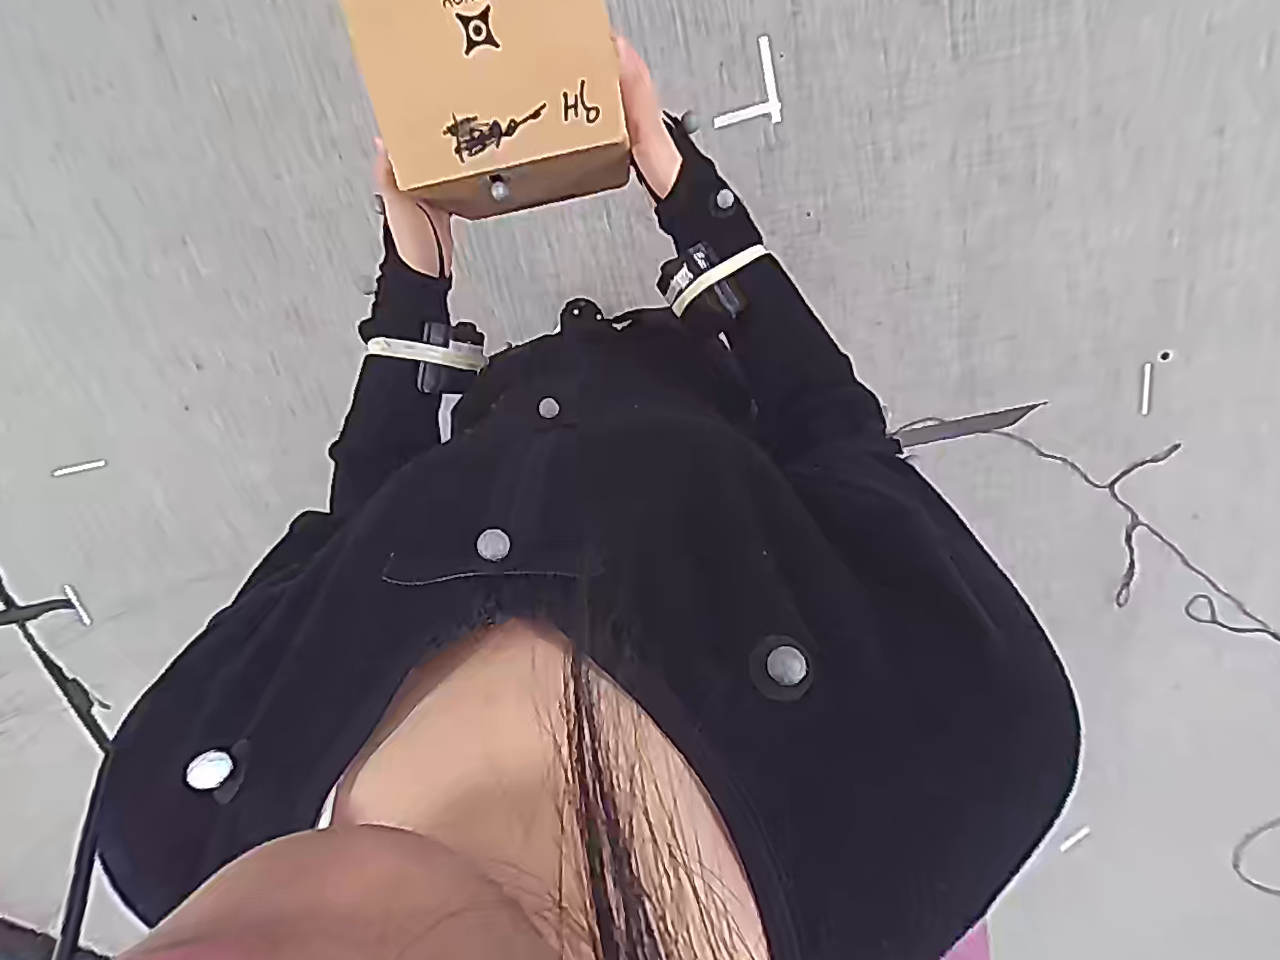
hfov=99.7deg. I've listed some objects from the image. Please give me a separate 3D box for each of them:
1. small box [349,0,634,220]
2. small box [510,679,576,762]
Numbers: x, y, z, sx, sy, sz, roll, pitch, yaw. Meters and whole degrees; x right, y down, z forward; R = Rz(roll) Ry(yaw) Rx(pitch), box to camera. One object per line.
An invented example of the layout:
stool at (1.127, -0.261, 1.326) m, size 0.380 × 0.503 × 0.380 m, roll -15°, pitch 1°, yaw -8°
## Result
small box at (-0.102, -0.321, 0.420) m, size 0.168 × 0.176 × 0.179 m, roll -11°, pitch 109°, yaw 3°
small box at (-0.295, 0.734, 1.662) m, size 0.179 × 0.176 × 0.168 m, roll 4°, pitch 106°, yaw -4°
